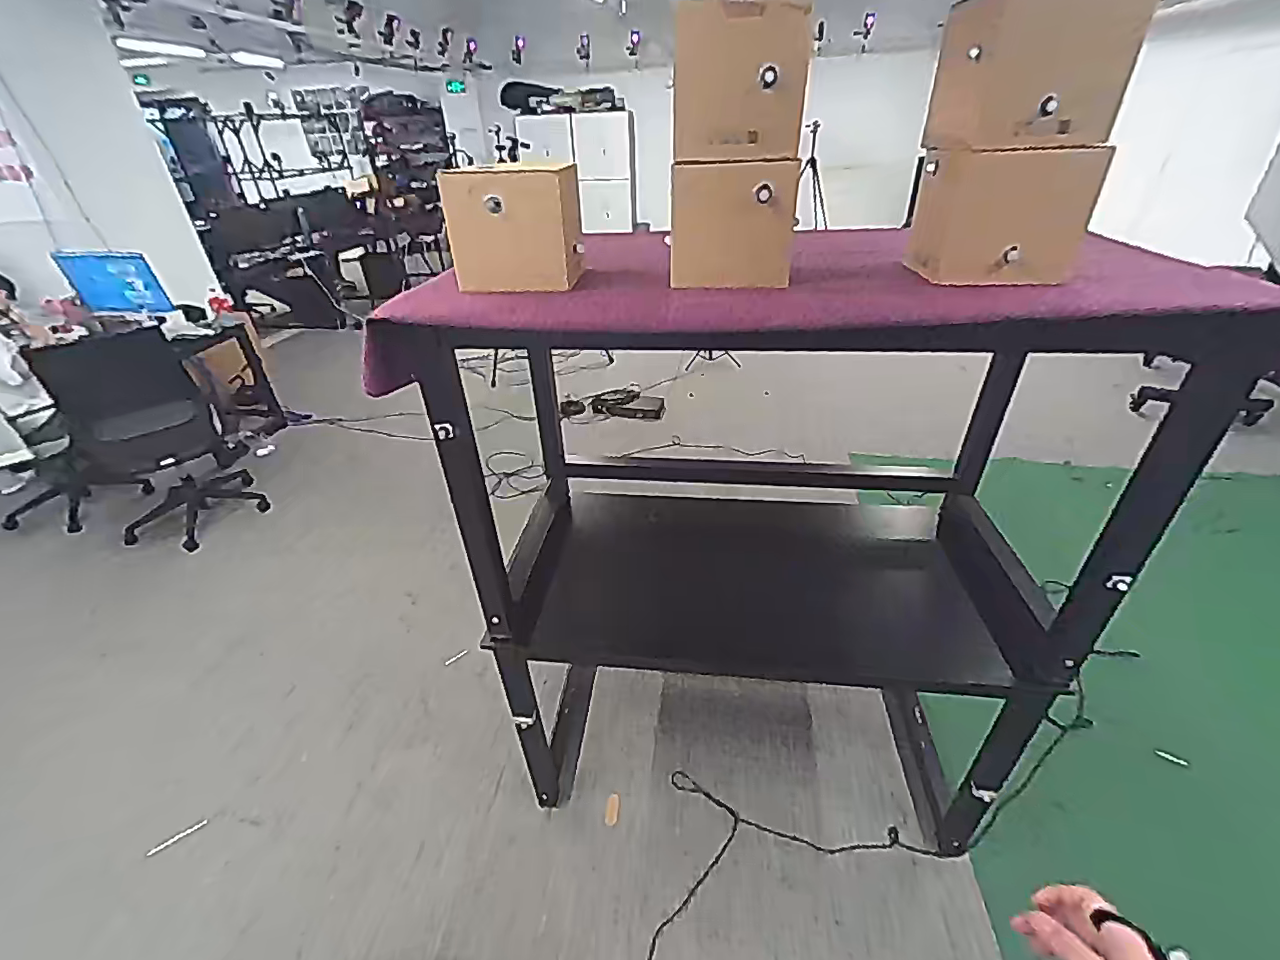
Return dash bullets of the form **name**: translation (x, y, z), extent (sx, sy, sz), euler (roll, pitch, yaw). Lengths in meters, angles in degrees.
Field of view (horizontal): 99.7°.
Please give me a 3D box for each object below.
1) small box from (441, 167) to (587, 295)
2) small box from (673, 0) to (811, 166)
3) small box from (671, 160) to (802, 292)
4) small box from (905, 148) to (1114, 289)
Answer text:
- **small box**: translation (-0.188, -0.399, 0.866), extent (0.179, 0.176, 0.168), euler (1, 33, 4)
- **small box**: translation (0.136, -0.535, 0.753), extent (0.168, 0.176, 0.179), euler (3, 32, 7)
- **small box**: translation (0.142, -0.393, 0.833), extent (0.179, 0.176, 0.168), euler (2, 32, 8)
- **small box**: translation (0.512, -0.379, 0.783), extent (0.179, 0.176, 0.168), euler (2, 31, 7)
